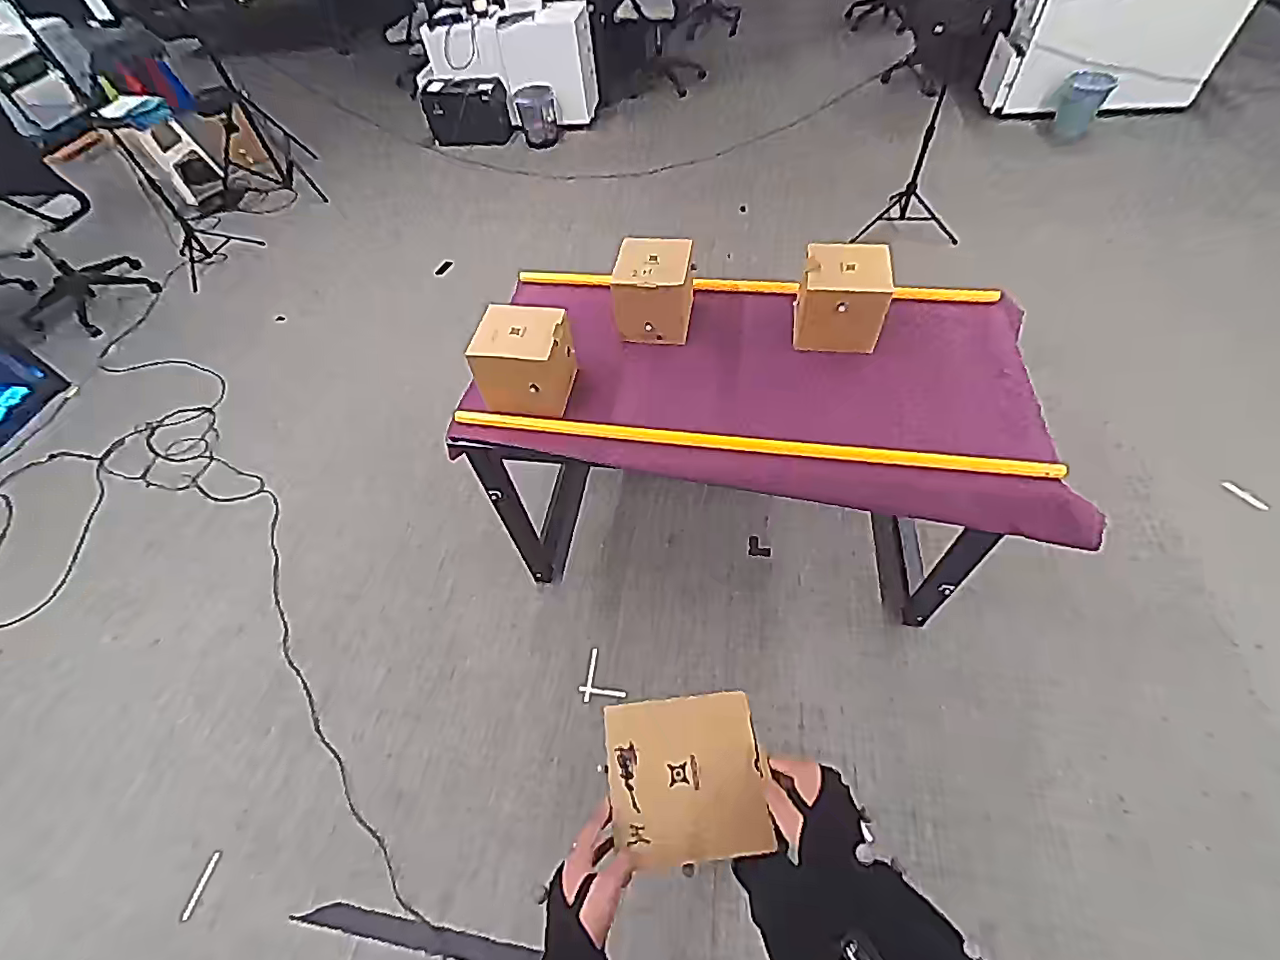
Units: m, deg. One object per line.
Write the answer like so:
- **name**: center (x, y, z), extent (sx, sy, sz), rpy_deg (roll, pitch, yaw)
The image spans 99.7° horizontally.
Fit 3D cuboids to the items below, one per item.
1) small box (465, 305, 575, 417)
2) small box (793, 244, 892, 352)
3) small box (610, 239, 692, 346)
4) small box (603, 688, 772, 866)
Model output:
- **small box**: center (-0.249, -0.255, 1.177), extent (0.179, 0.176, 0.168), rpy_deg (6, 55, 7)
- **small box**: center (0.448, -0.406, 1.218), extent (0.179, 0.176, 0.168), rpy_deg (5, 56, 10)
- **small box**: center (0.033, -0.446, 1.287), extent (0.168, 0.176, 0.179), rpy_deg (5, 57, 10)
- **small box**: center (0.045, 0.371, 0.677), extent (0.179, 0.176, 0.168), rpy_deg (-4, 56, -4)
